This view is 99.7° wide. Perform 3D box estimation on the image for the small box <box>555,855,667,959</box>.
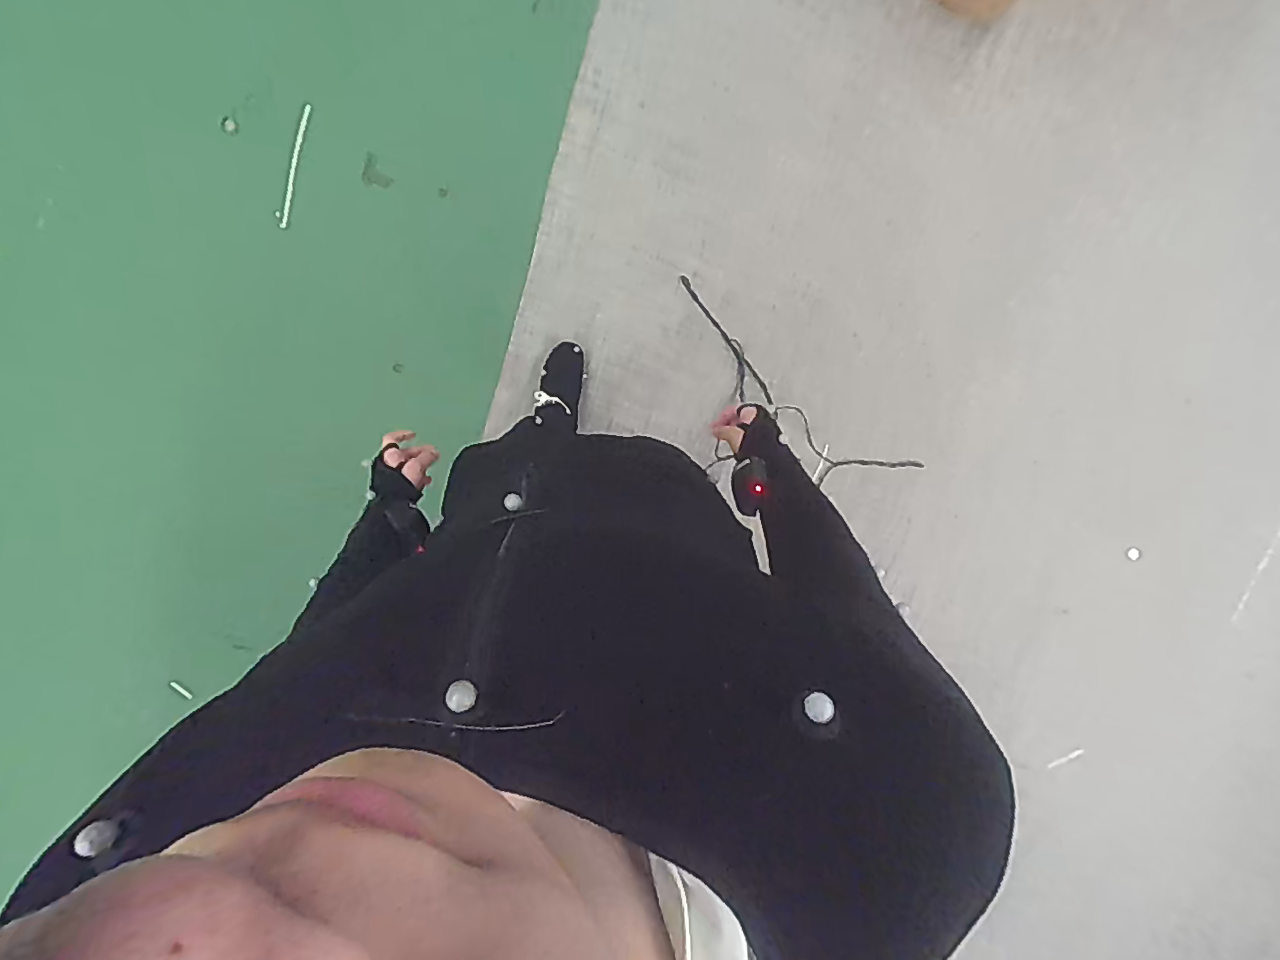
[{"bbox_3d":[-0.055,0.820,0.958,0.168,0.176,0.179,14,100,-5],"label":"small box"}]
